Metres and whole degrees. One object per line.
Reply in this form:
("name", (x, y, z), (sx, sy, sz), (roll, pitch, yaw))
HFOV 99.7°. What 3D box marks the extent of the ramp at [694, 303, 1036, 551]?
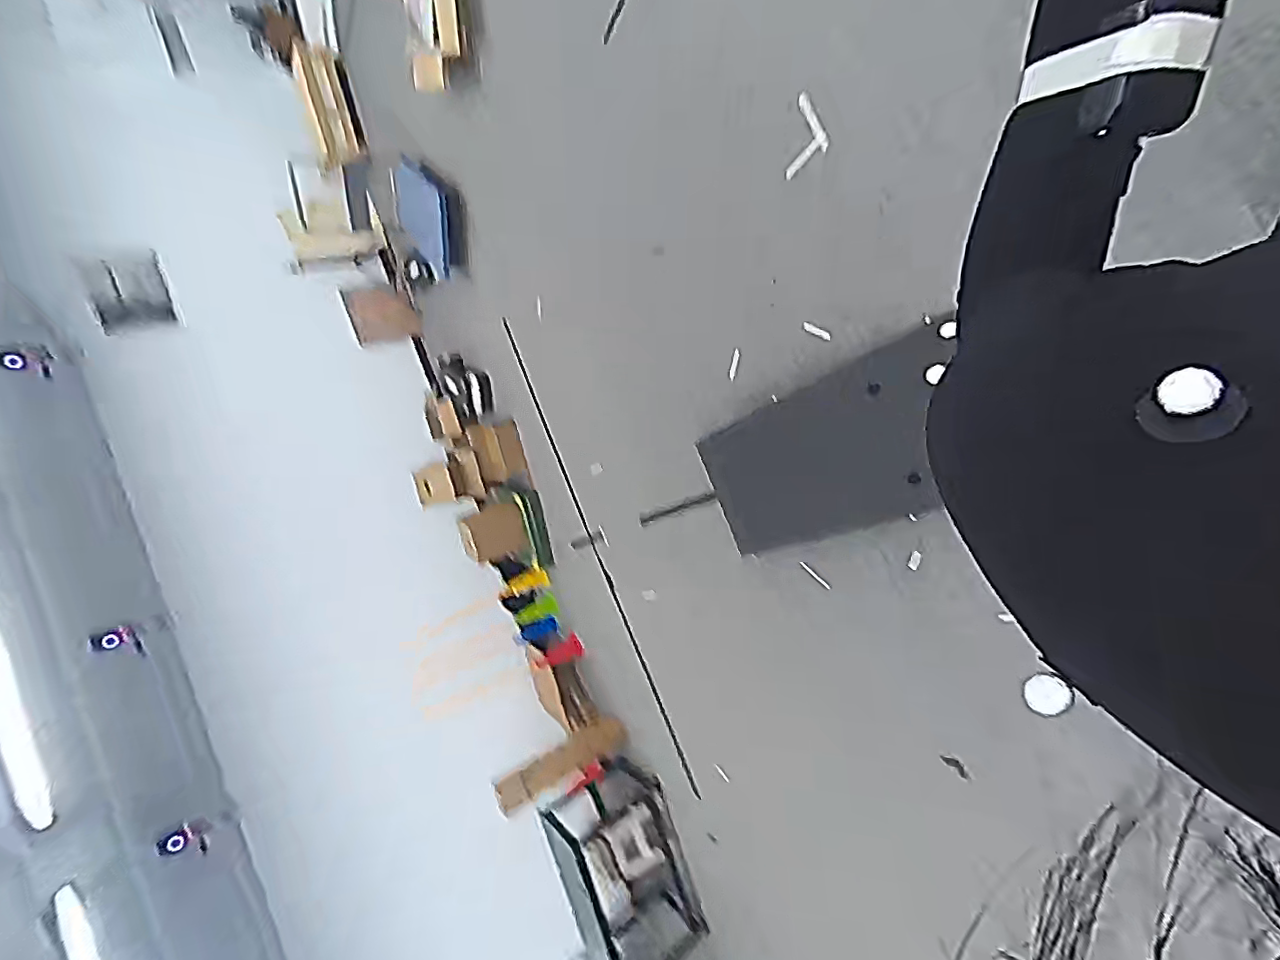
("ramp", (0.608, -0.096, 1.738), (0.991, 0.206, 0.509), (-30, 81, 57))
